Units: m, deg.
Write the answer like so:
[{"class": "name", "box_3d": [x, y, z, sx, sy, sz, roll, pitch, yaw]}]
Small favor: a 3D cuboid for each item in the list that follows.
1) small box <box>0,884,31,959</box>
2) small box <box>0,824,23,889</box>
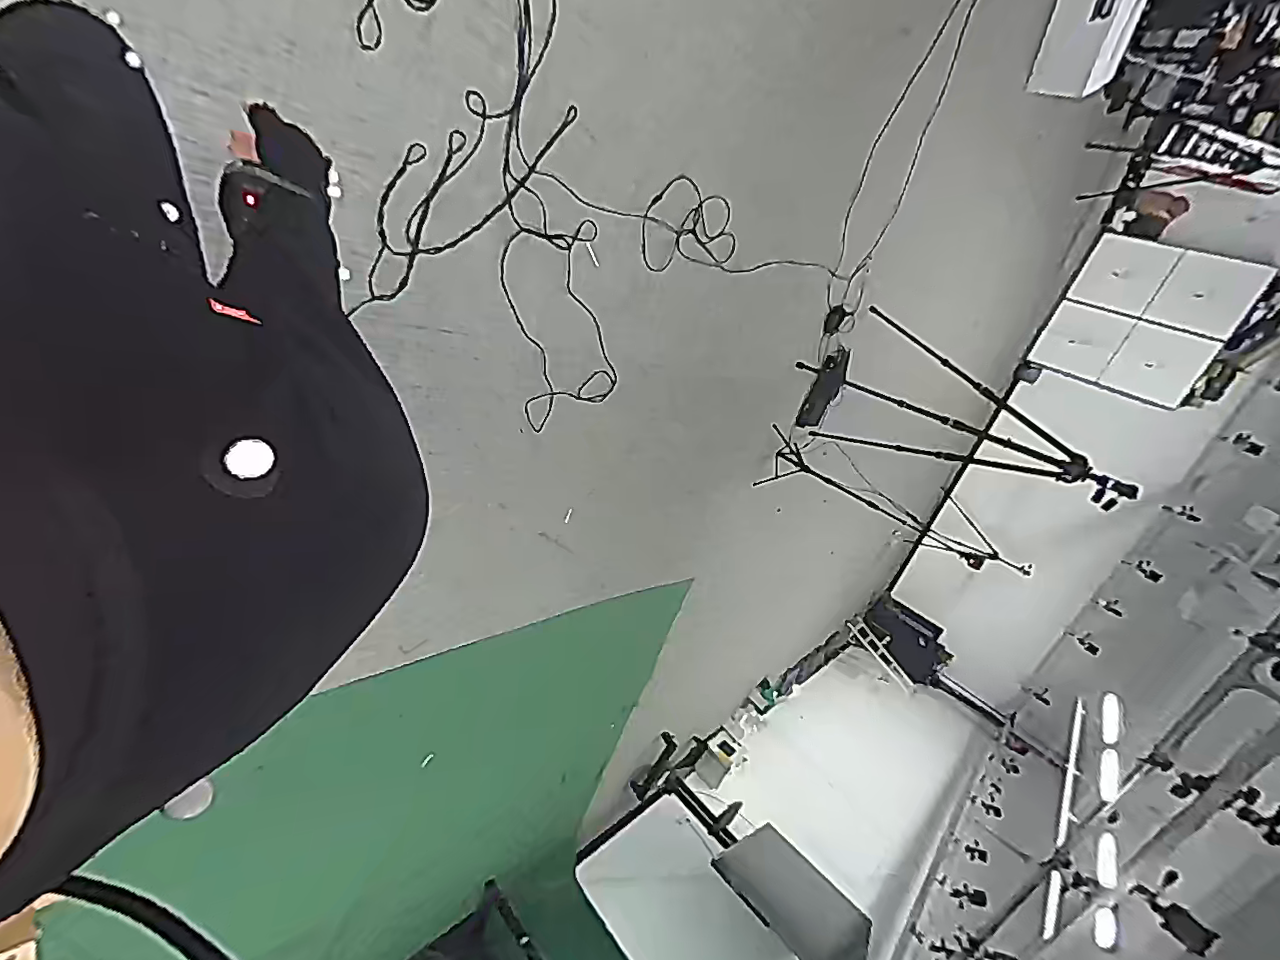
[{"class": "small box", "box_3d": [-1.522, 1.077, 1.232, 0.168, 0.176, 0.179, -2, 121, -51]}, {"class": "small box", "box_3d": [-1.635, 0.996, 1.320, 0.168, 0.176, 0.179, -5, 122, -51]}]
